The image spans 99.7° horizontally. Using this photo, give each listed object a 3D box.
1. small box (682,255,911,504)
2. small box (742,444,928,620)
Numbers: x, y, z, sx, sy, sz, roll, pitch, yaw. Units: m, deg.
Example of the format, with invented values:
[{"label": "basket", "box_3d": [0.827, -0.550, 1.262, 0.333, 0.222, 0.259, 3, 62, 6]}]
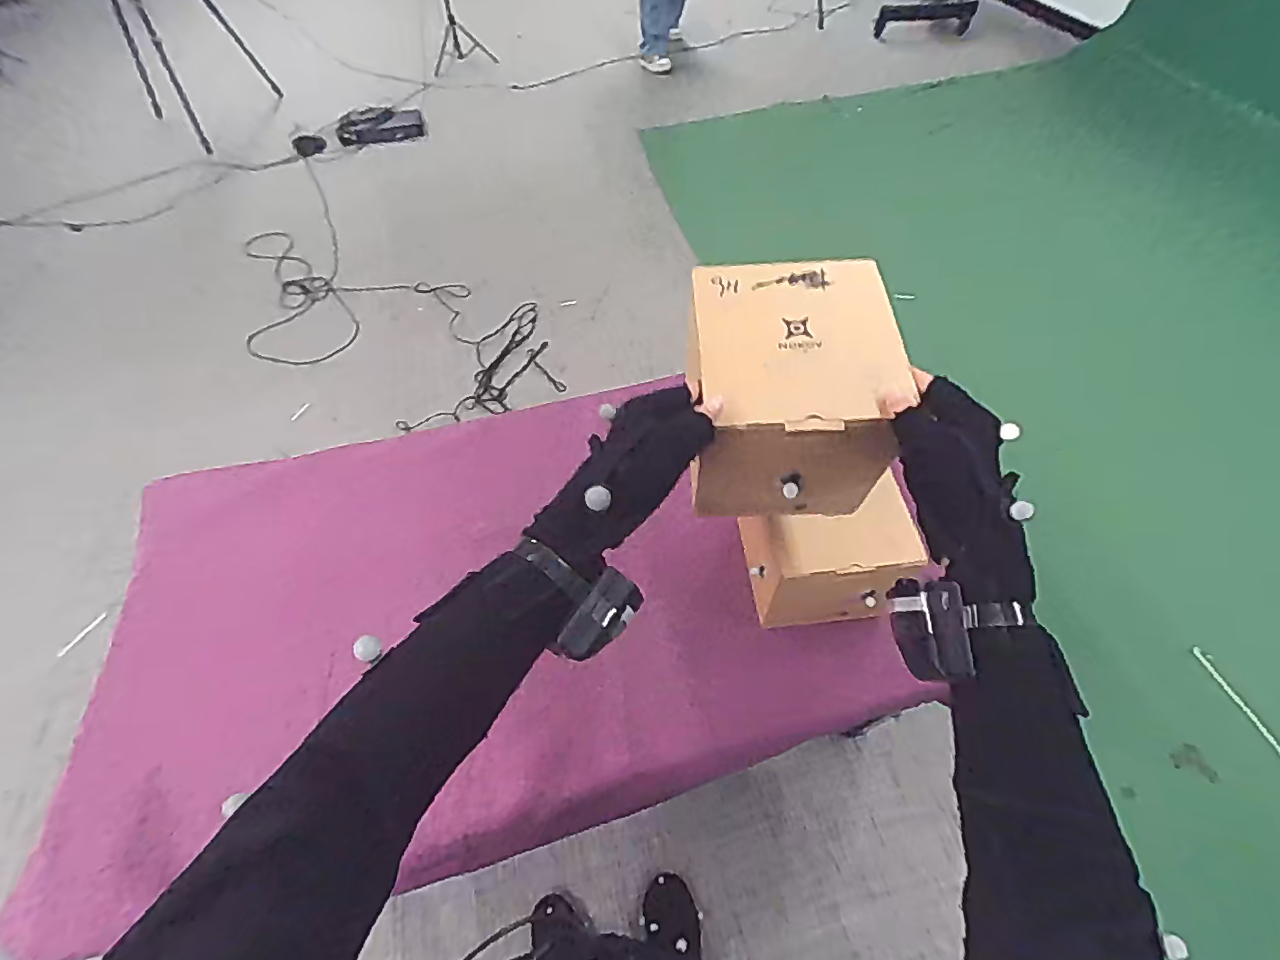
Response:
[{"label": "small box", "box_3d": [0.126, -0.083, 0.514, 0.168, 0.176, 0.179, -2, 63, 2]}, {"label": "small box", "box_3d": [0.234, 0.072, 0.701, 0.168, 0.176, 0.179, -5, 55, 0]}]
